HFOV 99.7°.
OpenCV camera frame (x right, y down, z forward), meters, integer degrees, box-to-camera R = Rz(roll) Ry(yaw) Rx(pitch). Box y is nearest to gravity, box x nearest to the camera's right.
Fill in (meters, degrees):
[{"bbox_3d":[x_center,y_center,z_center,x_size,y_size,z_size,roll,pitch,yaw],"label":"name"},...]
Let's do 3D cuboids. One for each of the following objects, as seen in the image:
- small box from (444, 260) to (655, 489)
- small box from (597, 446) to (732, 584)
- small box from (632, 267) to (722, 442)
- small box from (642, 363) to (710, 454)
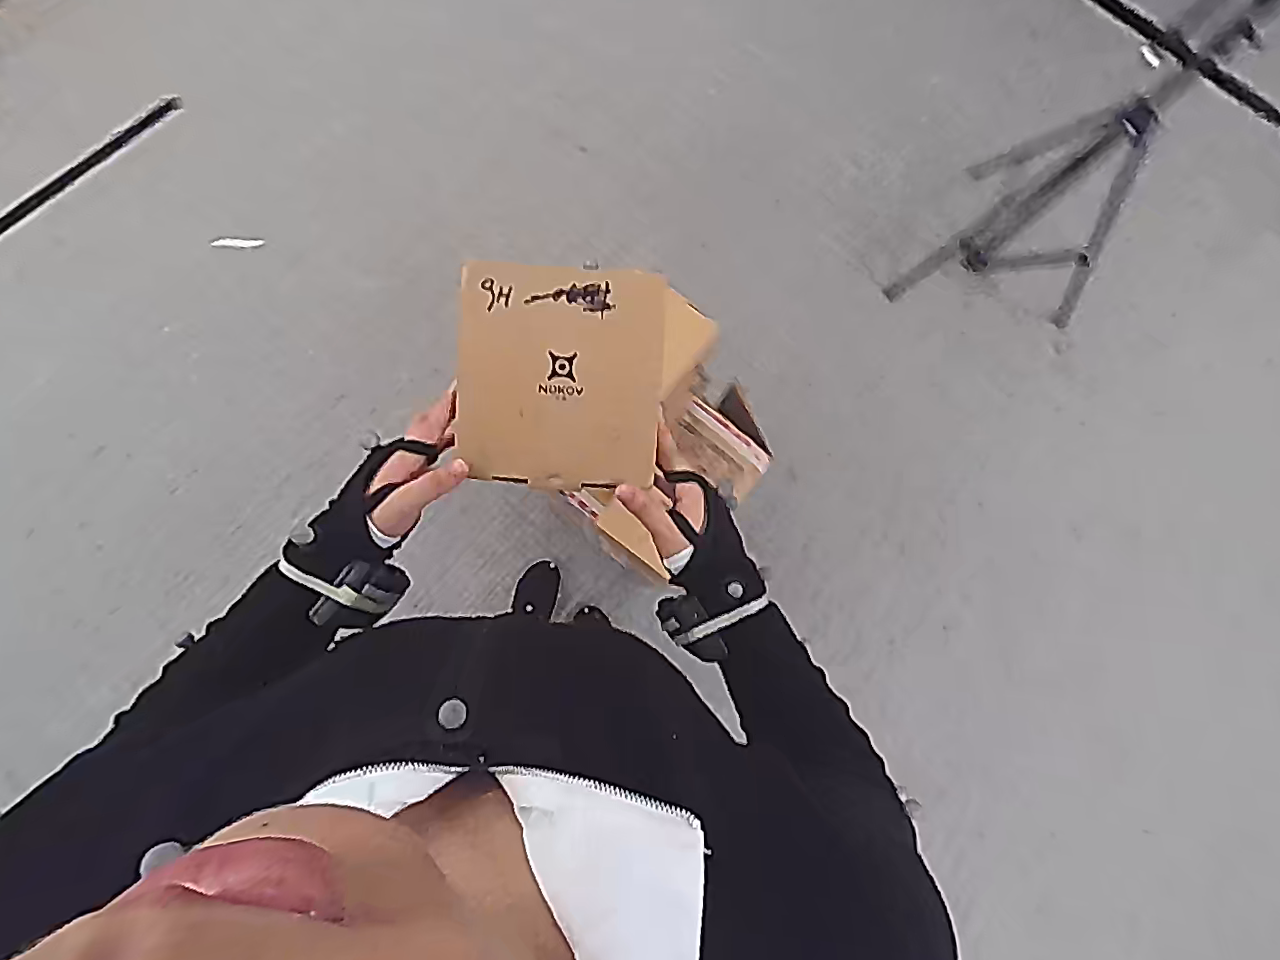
[{"bbox_3d":[-0.078,-0.093,0.515,0.168,0.176,0.179,3,97,-4],"label":"small box"},{"bbox_3d":[0.036,0.068,0.979,0.168,0.176,0.179,38,80,4],"label":"small box"},{"bbox_3d":[0.002,-0.189,0.862,0.168,0.176,0.179,39,81,6],"label":"small box"},{"bbox_3d":[0.005,-0.177,1.025,0.168,0.176,0.179,39,80,6],"label":"small box"}]
